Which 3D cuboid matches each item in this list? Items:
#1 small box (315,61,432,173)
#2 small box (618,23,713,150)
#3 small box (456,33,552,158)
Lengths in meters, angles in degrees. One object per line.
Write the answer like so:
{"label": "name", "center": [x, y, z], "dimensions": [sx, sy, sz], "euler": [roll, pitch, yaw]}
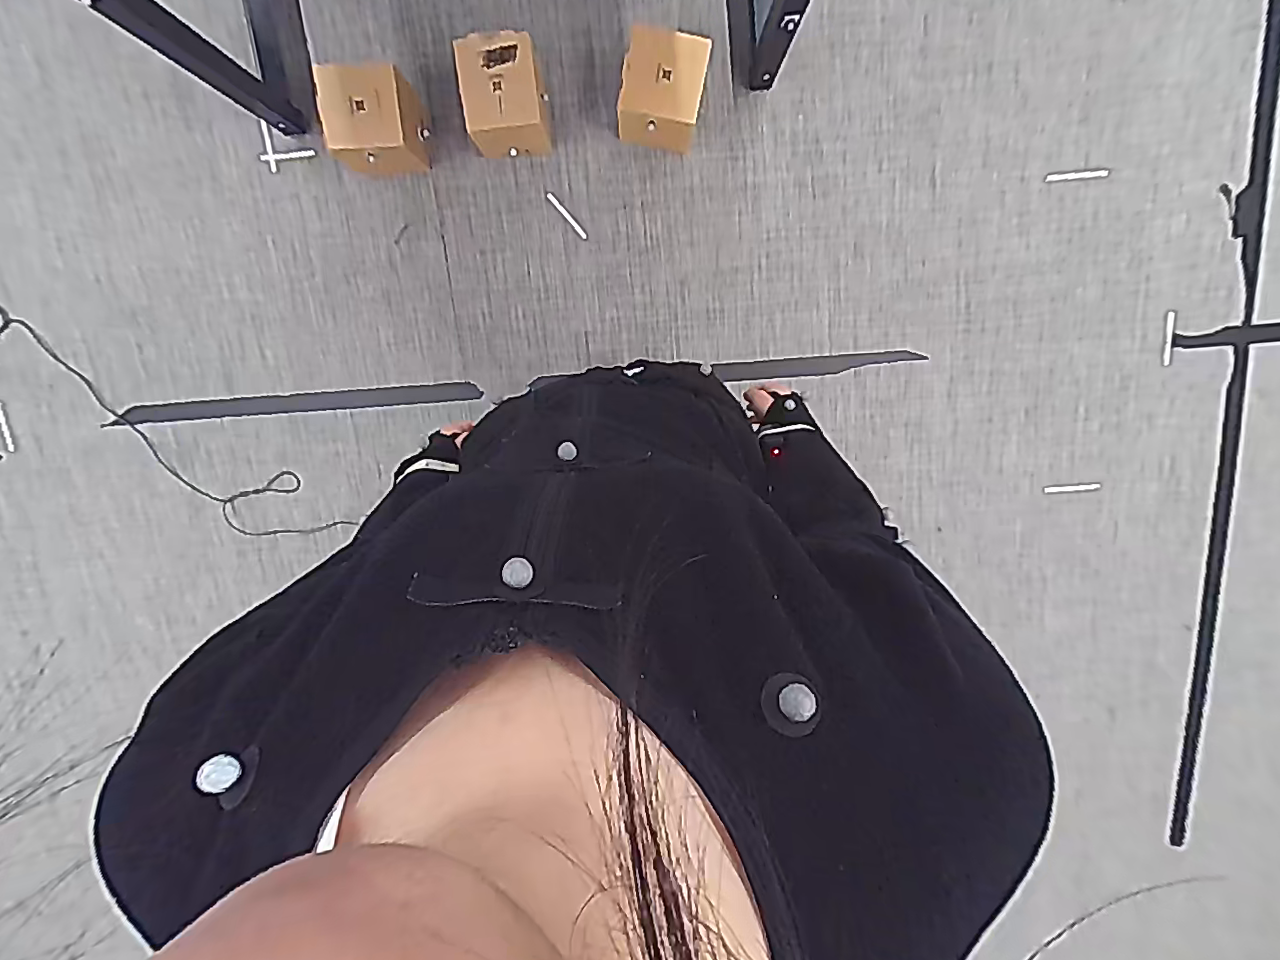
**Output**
{"label": "small box", "center": [-0.604, -0.825, 1.244], "dimensions": [0.179, 0.176, 0.168], "euler": [-3, 103, 0]}
{"label": "small box", "center": [0.056, -0.880, 1.230], "dimensions": [0.179, 0.176, 0.168], "euler": [12, 102, -1]}
{"label": "small box", "center": [-0.301, -0.866, 1.232], "dimensions": [0.168, 0.176, 0.179], "euler": [-5, 103, 2]}
